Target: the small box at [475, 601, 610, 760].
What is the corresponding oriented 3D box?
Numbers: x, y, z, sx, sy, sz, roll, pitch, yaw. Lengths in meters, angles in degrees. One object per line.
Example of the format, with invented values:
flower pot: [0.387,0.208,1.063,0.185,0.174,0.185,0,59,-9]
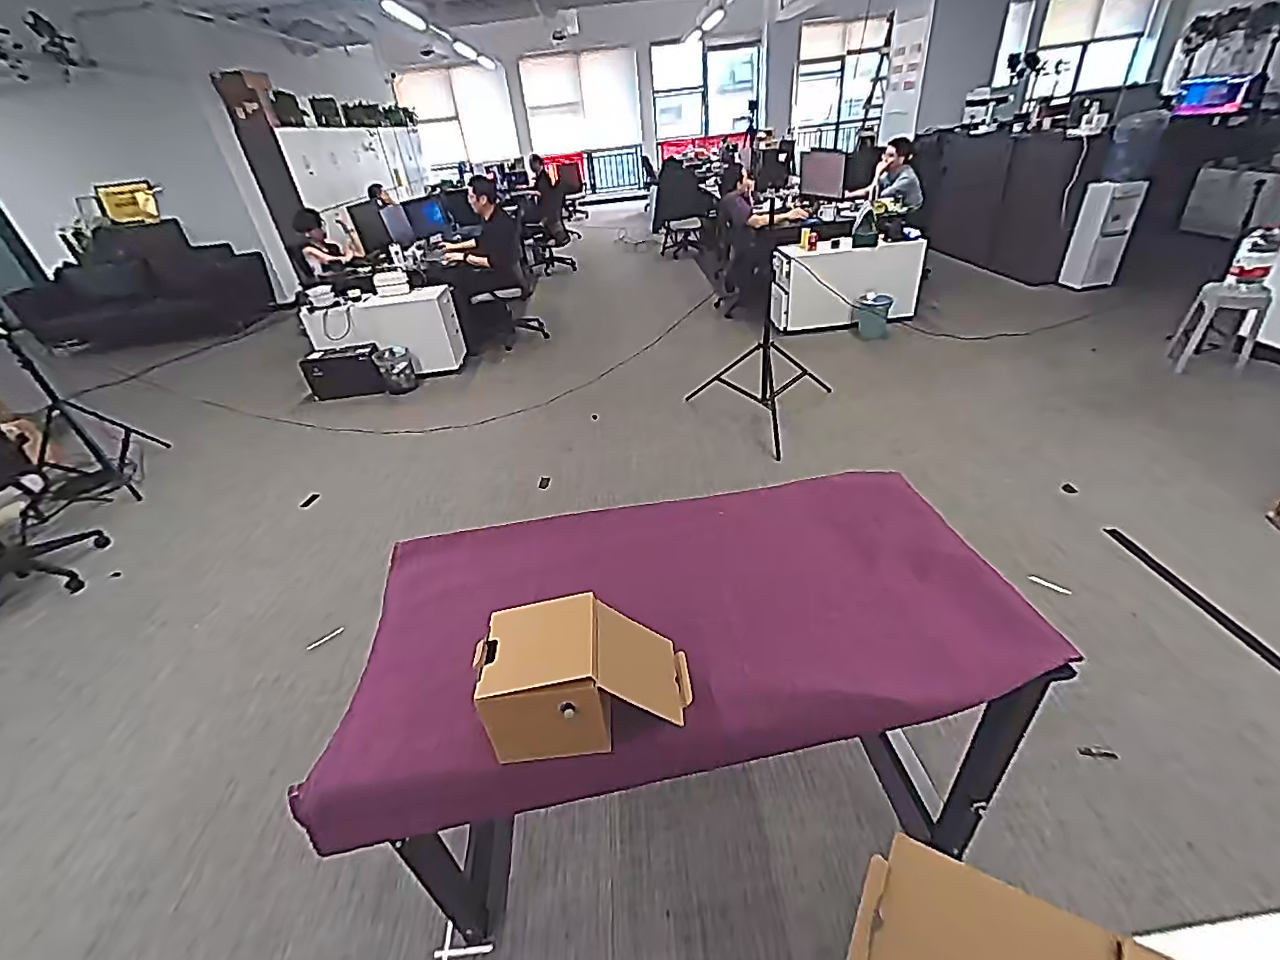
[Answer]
small box: [-0.142,0.320,0.866,0.179,0.176,0.168,-7,33,0]
